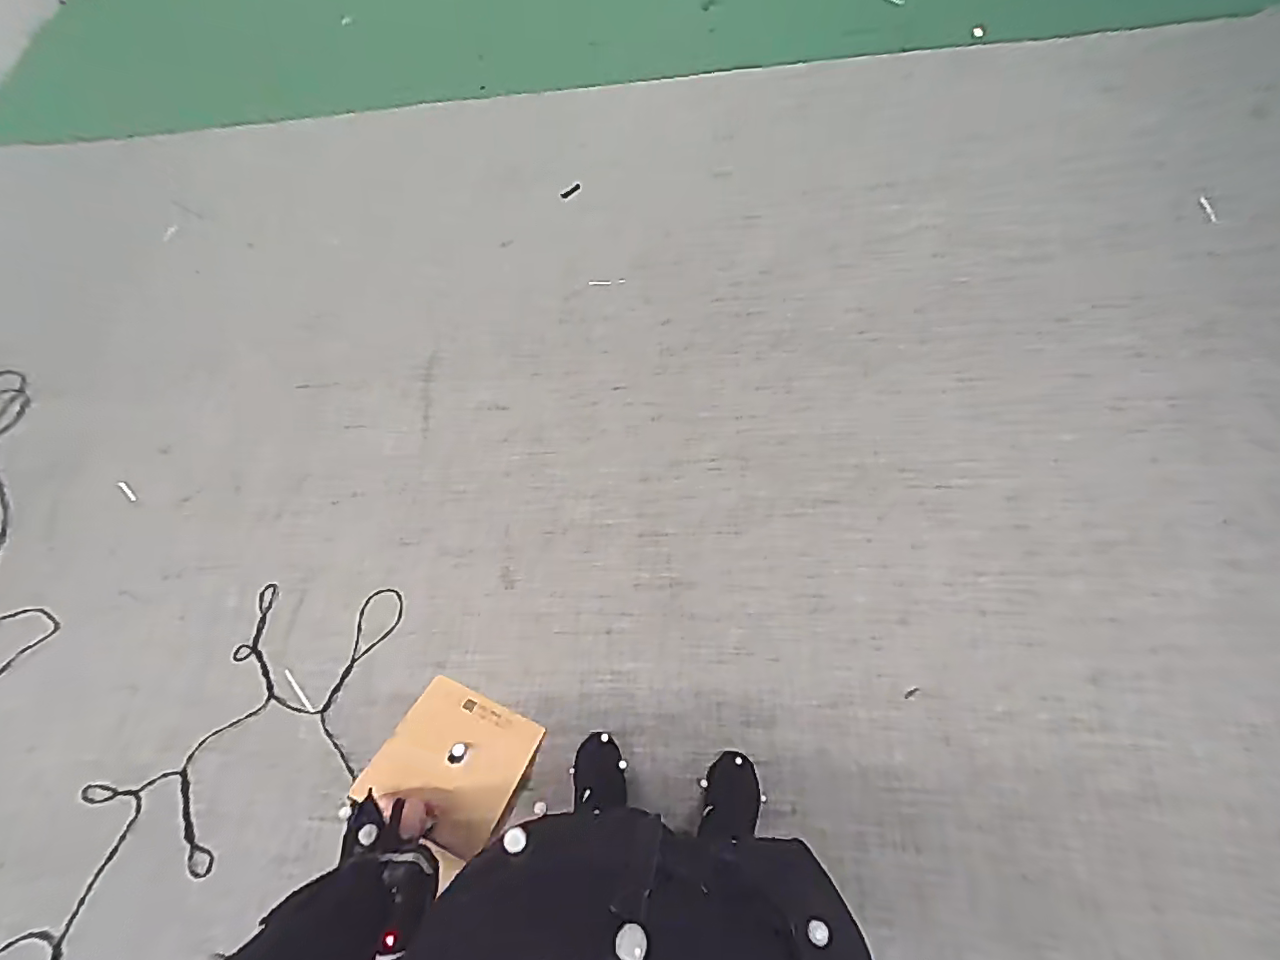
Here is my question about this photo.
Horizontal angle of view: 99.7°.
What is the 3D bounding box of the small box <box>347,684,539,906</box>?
[{"bbox_3d":[-0.250,0.402,0.706,0.168,0.179,0.176,27,38,5],"label":"small box"}]
